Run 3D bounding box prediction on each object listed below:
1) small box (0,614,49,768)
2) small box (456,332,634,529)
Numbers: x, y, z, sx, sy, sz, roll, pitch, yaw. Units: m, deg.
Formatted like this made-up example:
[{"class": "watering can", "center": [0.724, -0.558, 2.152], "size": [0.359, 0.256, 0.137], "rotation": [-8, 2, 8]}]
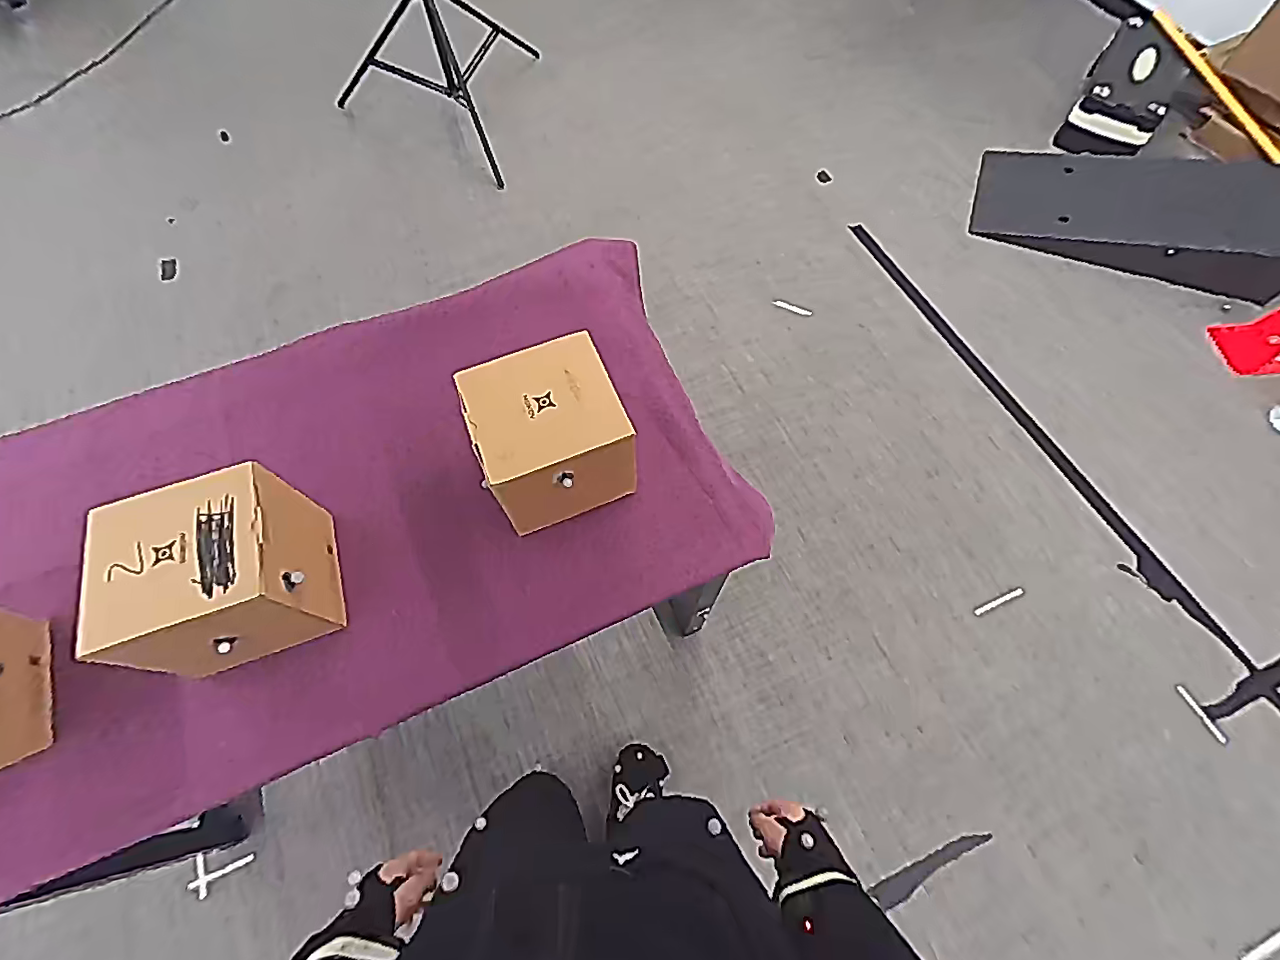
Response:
[{"class": "small box", "center": [-0.792, 0.241, 0.570], "size": [0.179, 0.176, 0.168], "rotation": [-24, 66, -11]}, {"class": "small box", "center": [-0.114, -0.056, 0.709], "size": [0.179, 0.176, 0.168], "rotation": [-21, 67, -10]}]
